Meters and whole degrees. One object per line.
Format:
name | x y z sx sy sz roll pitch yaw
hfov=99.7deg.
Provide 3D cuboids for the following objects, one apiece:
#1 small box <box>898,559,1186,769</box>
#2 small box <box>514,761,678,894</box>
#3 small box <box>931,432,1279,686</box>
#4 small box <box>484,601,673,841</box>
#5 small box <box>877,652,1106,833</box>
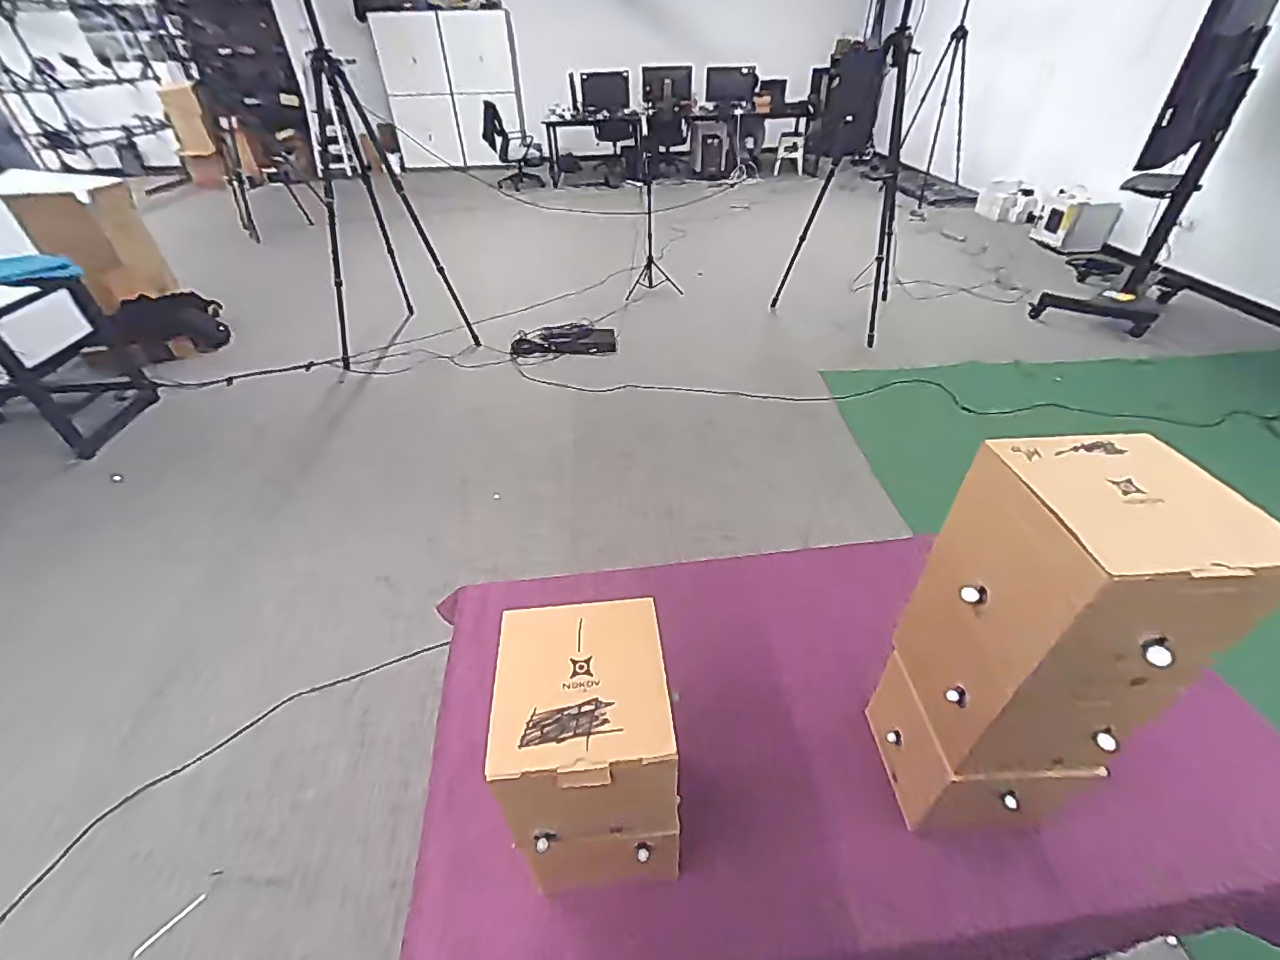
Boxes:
small box | 0.418 0.204 0.605 0.168 0.176 0.179 -2 38 1
small box | -0.048 0.388 0.674 0.179 0.176 0.168 -5 39 -3
small box | 0.408 0.076 0.503 0.168 0.176 0.179 -2 39 -1
small box | -0.056 0.257 0.574 0.168 0.176 0.179 -5 37 -3
small box | 0.426 0.336 0.700 0.179 0.176 0.168 -2 39 1
